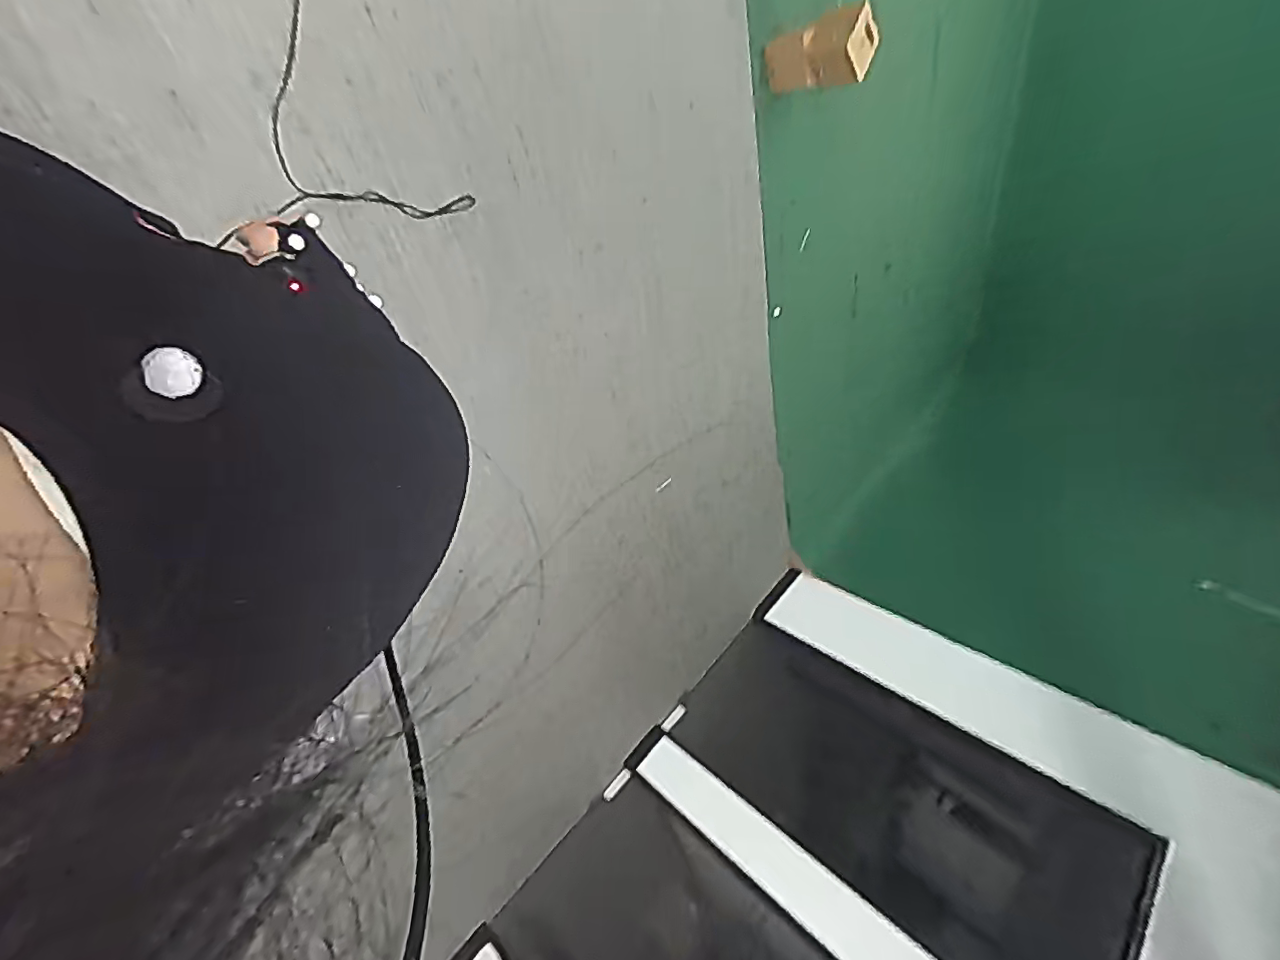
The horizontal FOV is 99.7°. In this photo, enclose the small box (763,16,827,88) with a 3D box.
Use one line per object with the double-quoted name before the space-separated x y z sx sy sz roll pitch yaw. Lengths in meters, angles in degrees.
"small box" 0.591 -1.632 2.065 0.179 0.176 0.168 -47 137 -23
